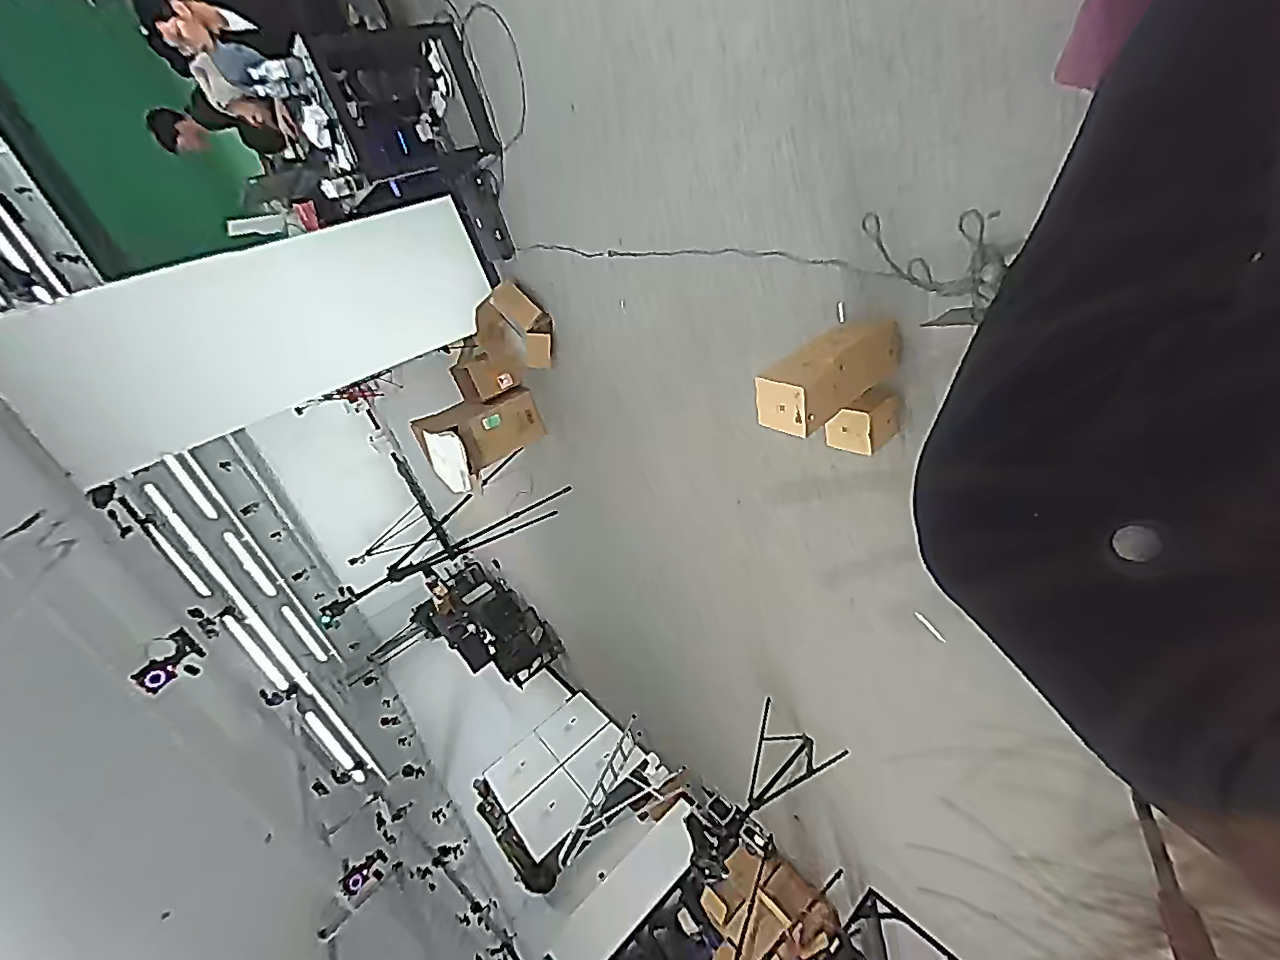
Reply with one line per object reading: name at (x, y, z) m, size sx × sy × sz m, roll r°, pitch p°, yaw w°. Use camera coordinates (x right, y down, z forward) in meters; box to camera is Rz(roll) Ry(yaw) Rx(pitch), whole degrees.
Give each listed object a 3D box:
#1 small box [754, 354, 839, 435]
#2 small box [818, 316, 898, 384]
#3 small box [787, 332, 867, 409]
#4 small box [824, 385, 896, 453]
small box at (0.466, -0.261, 1.610) m, size 0.179 × 0.176 × 0.168 m, roll 28°, pitch 142°, yaw 45°
small box at (0.707, -0.426, 1.757) m, size 0.179 × 0.176 × 0.168 m, roll 18°, pitch 135°, yaw 51°
small box at (0.587, -0.346, 1.683) m, size 0.168 × 0.176 × 0.179 m, roll 20°, pitch 136°, yaw 50°
small box at (0.764, -0.221, 1.882) m, size 0.179 × 0.176 × 0.168 m, roll 23°, pitch 139°, yaw 47°
